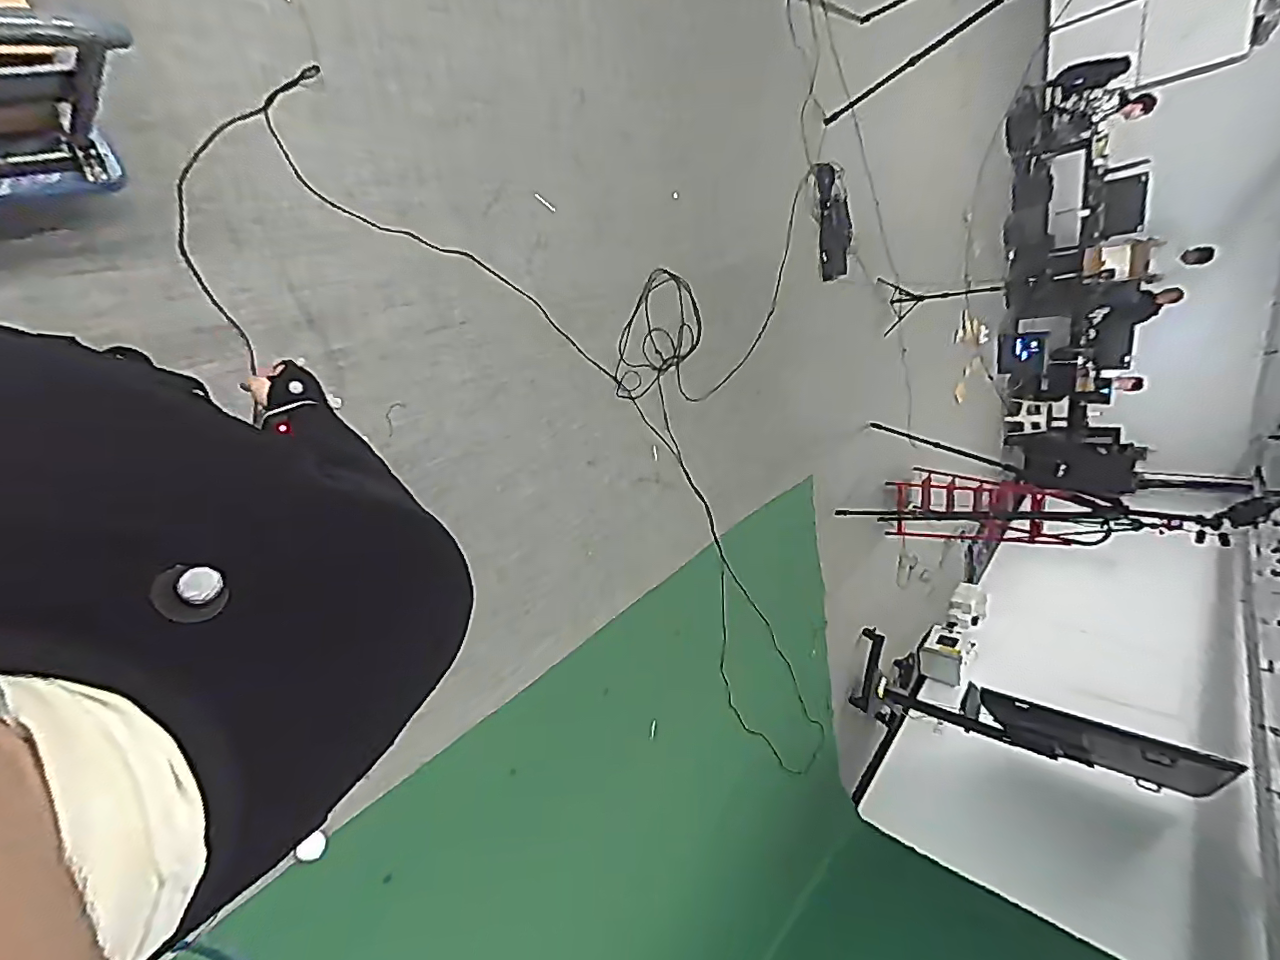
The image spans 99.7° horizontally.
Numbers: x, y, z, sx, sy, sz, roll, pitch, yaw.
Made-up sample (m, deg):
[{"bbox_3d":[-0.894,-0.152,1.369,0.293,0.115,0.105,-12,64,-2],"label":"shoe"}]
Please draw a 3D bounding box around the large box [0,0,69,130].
[{"bbox_3d":[-1.098,-0.730,0.718,0.320,0.320,0.408,-38,121,-36],"label":"large box"}]
